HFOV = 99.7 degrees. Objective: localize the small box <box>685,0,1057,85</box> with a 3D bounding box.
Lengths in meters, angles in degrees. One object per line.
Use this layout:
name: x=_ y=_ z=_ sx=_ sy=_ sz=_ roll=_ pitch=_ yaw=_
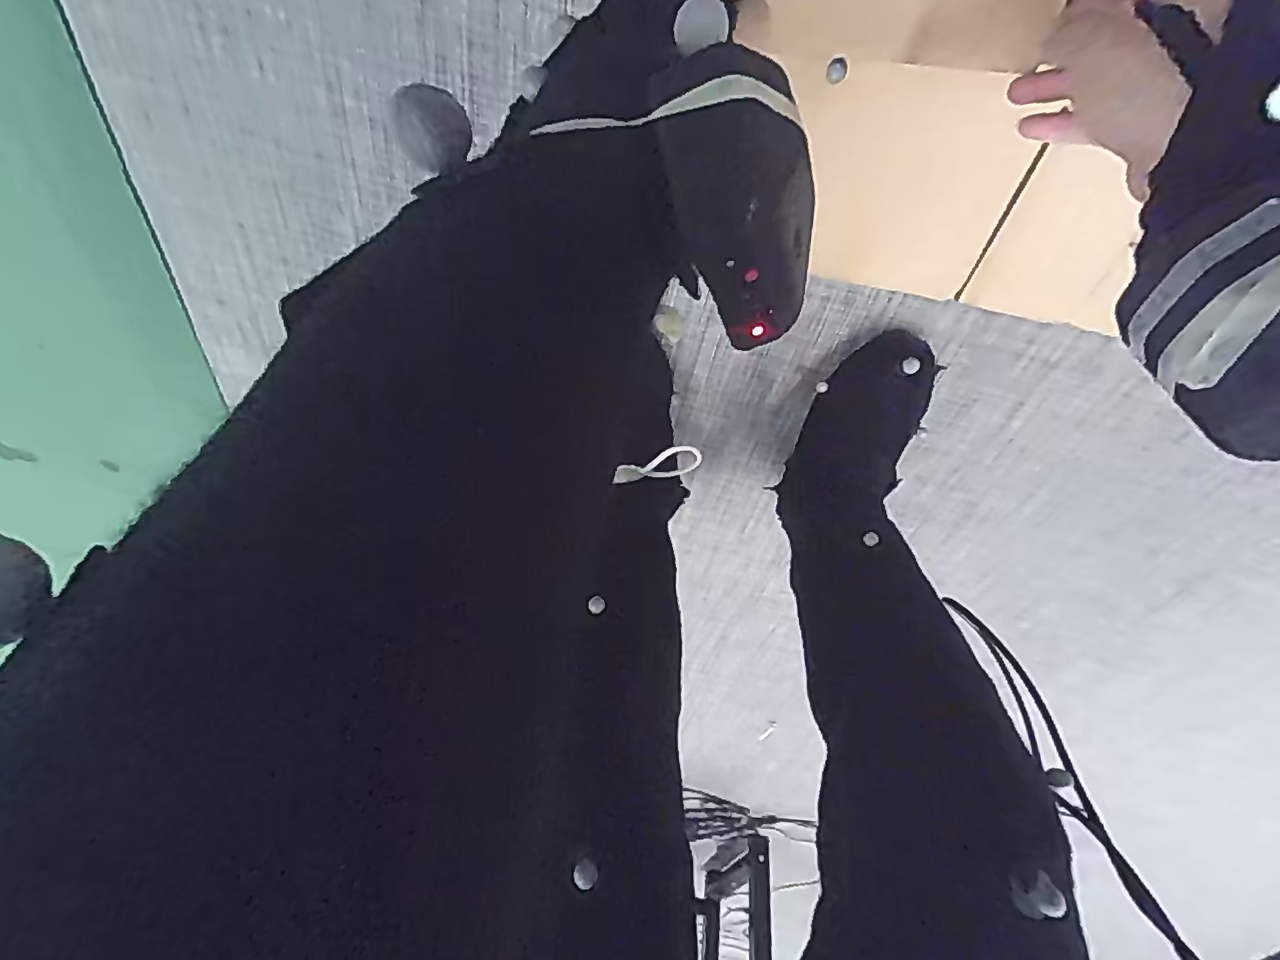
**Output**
small box: x=0.126 y=-0.327 z=0.285 sx=0.179 sy=0.176 sz=0.168 roll=8 pitch=133 yaw=3
